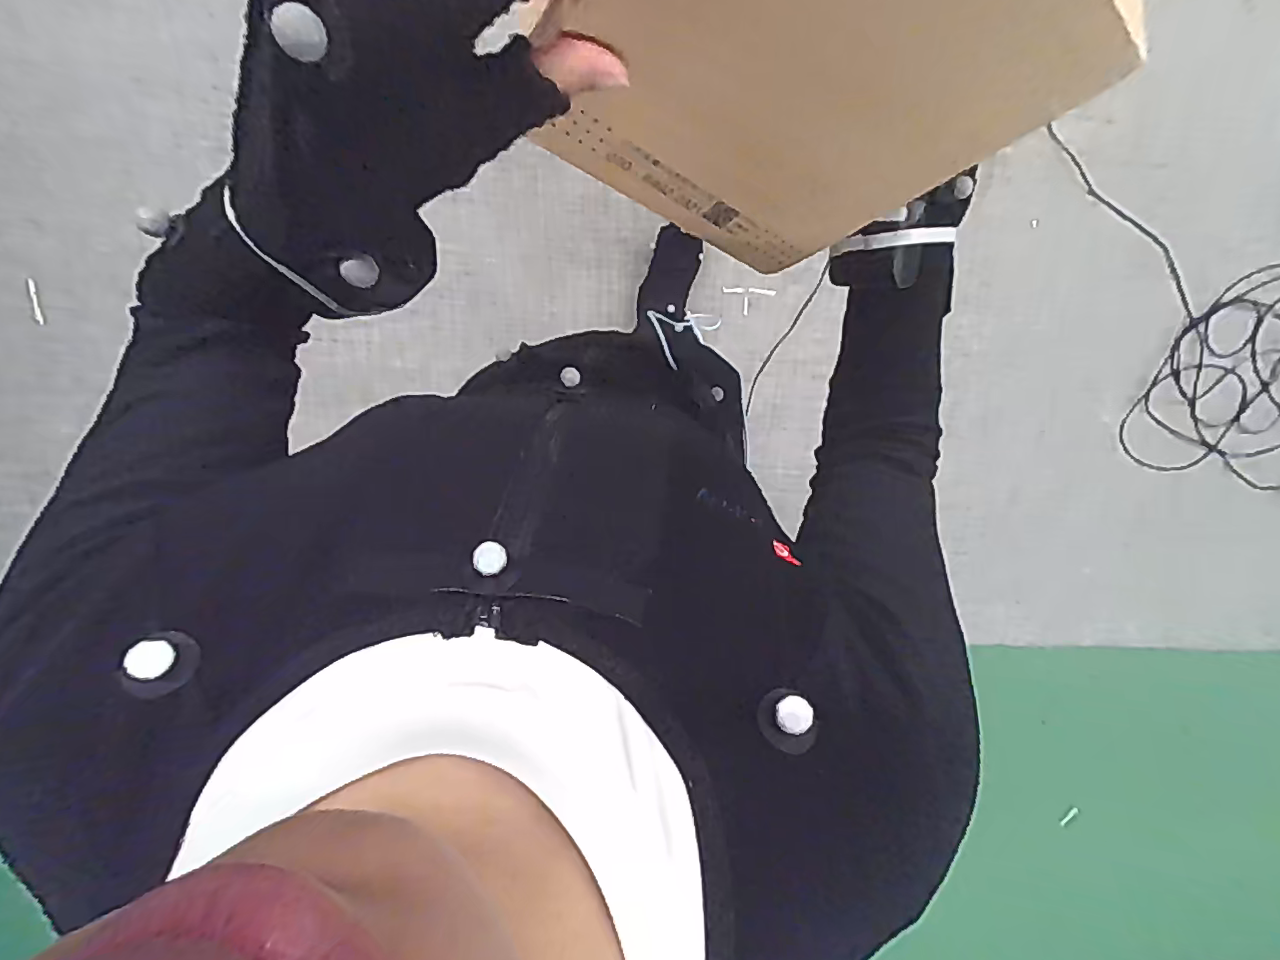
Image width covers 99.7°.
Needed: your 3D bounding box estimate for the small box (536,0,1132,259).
[{"bbox_3d":[0.069,-0.236,0.232,0.168,0.176,0.179,13,75,-34],"label":"small box"}]
